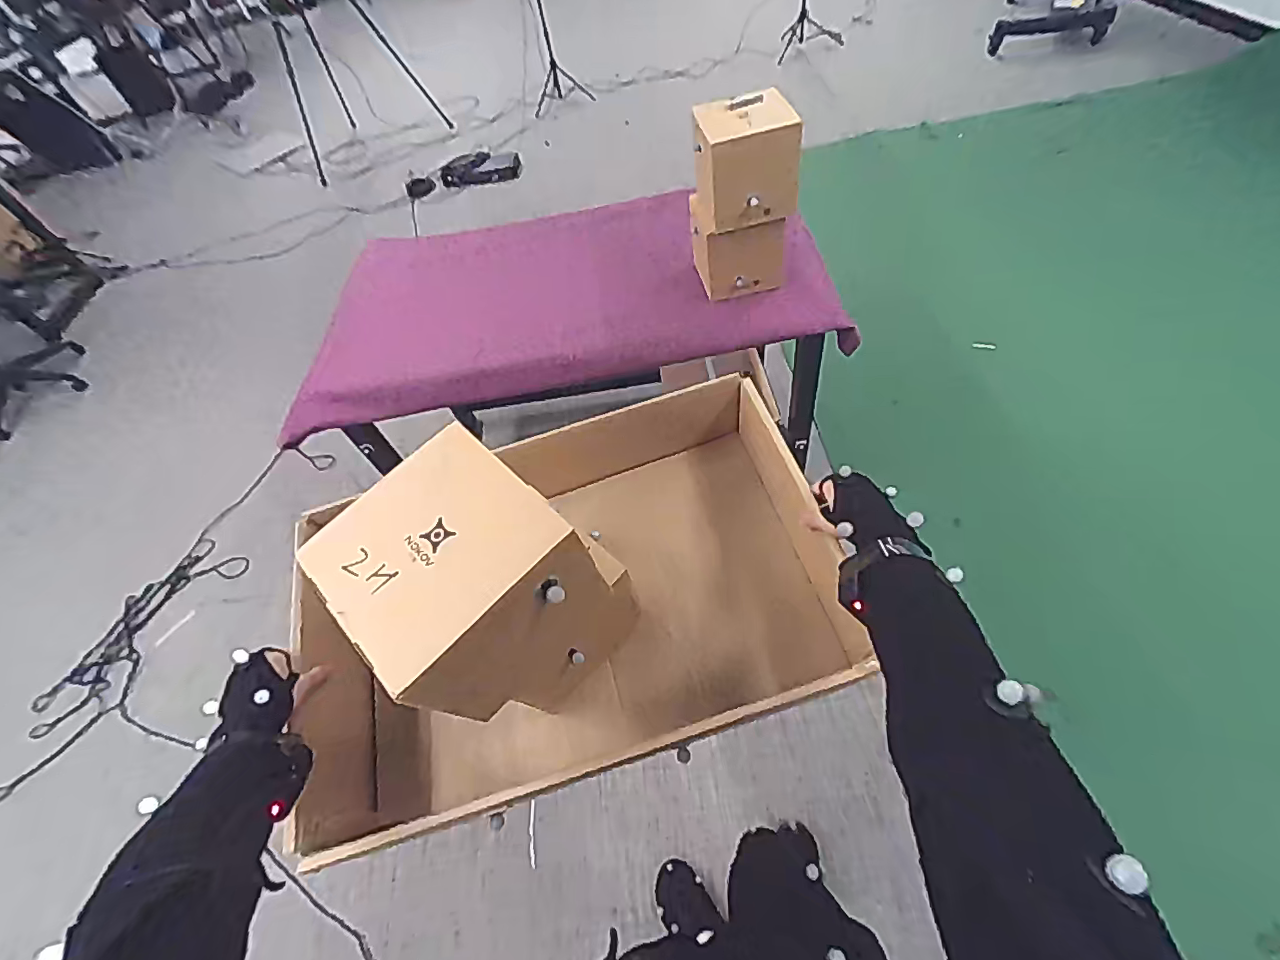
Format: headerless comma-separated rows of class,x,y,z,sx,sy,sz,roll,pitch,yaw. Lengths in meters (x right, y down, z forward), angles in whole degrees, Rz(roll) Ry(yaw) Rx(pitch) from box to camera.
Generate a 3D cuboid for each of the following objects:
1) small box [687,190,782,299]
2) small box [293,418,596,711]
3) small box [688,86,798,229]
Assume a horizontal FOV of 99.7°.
small box,0.203,-0.525,1.177,0.168,0.176,0.179,-13,52,3
small box,-0.157,0.083,0.498,0.168,0.176,0.179,39,74,26
small box,0.194,-0.616,1.039,0.168,0.176,0.179,-13,52,3
